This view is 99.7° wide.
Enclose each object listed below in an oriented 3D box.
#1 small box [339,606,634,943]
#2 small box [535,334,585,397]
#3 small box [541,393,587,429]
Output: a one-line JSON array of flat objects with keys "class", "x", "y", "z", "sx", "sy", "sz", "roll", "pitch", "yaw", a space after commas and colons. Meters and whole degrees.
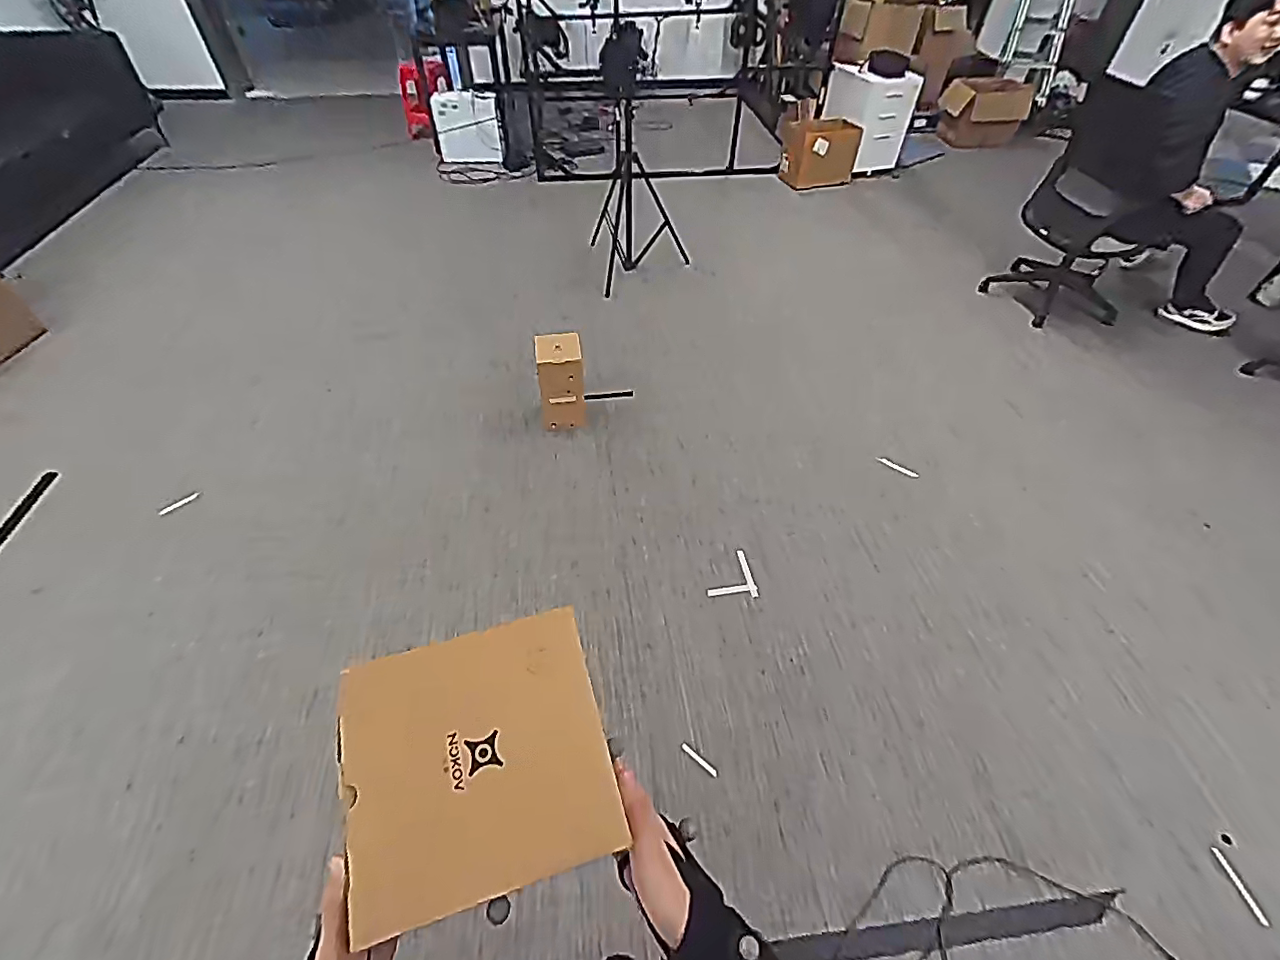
[{"class": "small box", "x": -0.115, "y": 0.221, "z": 0.440, "sx": 0.179, "sy": 0.176, "sz": 0.168, "roll": -15, "pitch": 64, "yaw": -11}, {"class": "small box", "x": -0.303, "y": -0.428, "z": 2.052, "sx": 0.168, "sy": 0.176, "sz": 0.179, "roll": -7, "pitch": 48, "yaw": -8}, {"class": "small box", "x": -0.307, "y": -0.320, "z": 2.173, "sx": 0.168, "sy": 0.176, "sz": 0.179, "roll": -7, "pitch": 48, "yaw": -7}]
